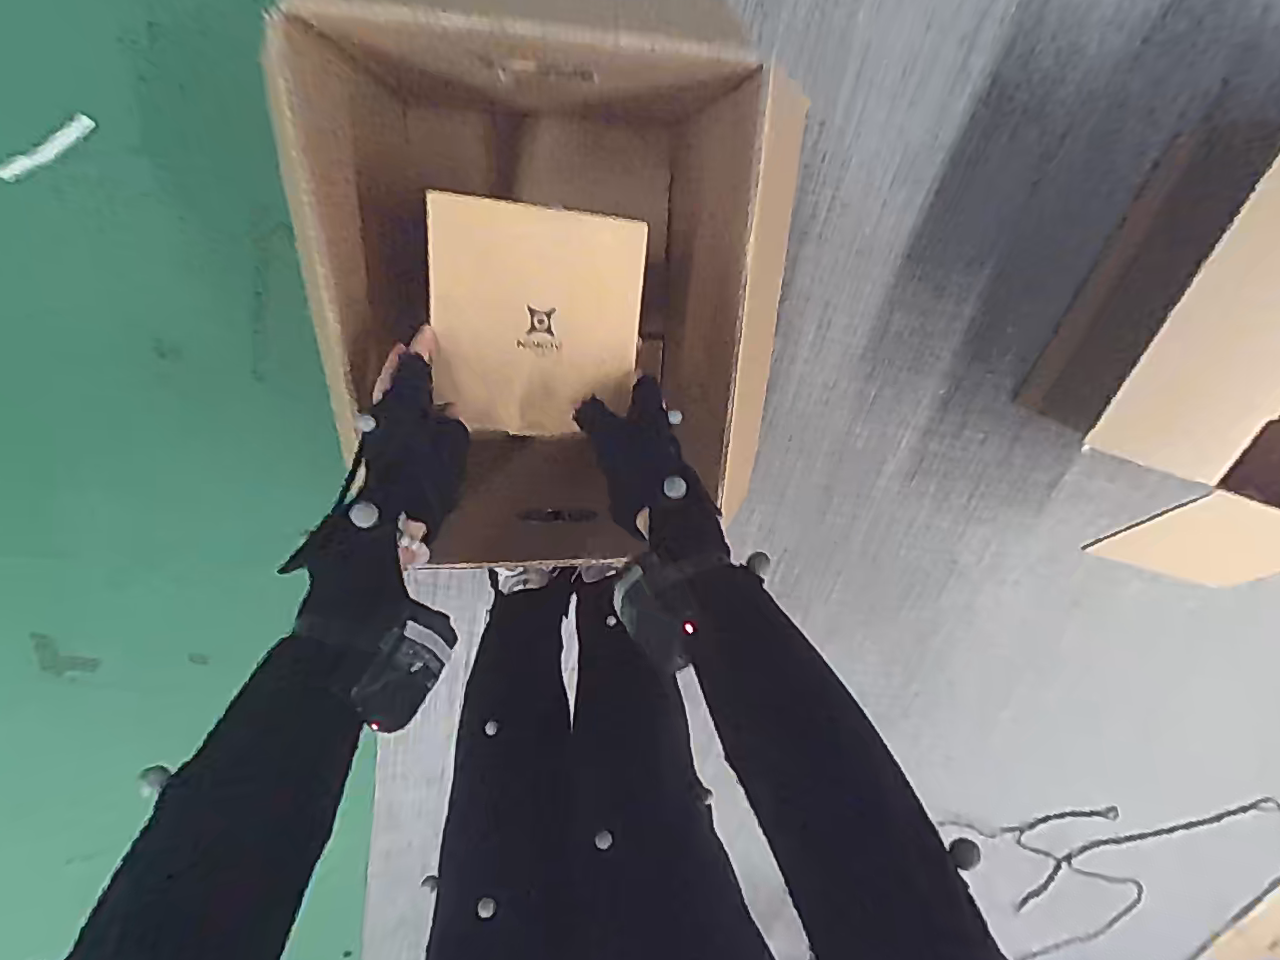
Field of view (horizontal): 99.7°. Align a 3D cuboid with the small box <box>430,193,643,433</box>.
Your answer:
[{"bbox_3d":[-0.106,-0.150,0.504,0.168,0.176,0.179,-1,111,-18],"label":"small box"}]
